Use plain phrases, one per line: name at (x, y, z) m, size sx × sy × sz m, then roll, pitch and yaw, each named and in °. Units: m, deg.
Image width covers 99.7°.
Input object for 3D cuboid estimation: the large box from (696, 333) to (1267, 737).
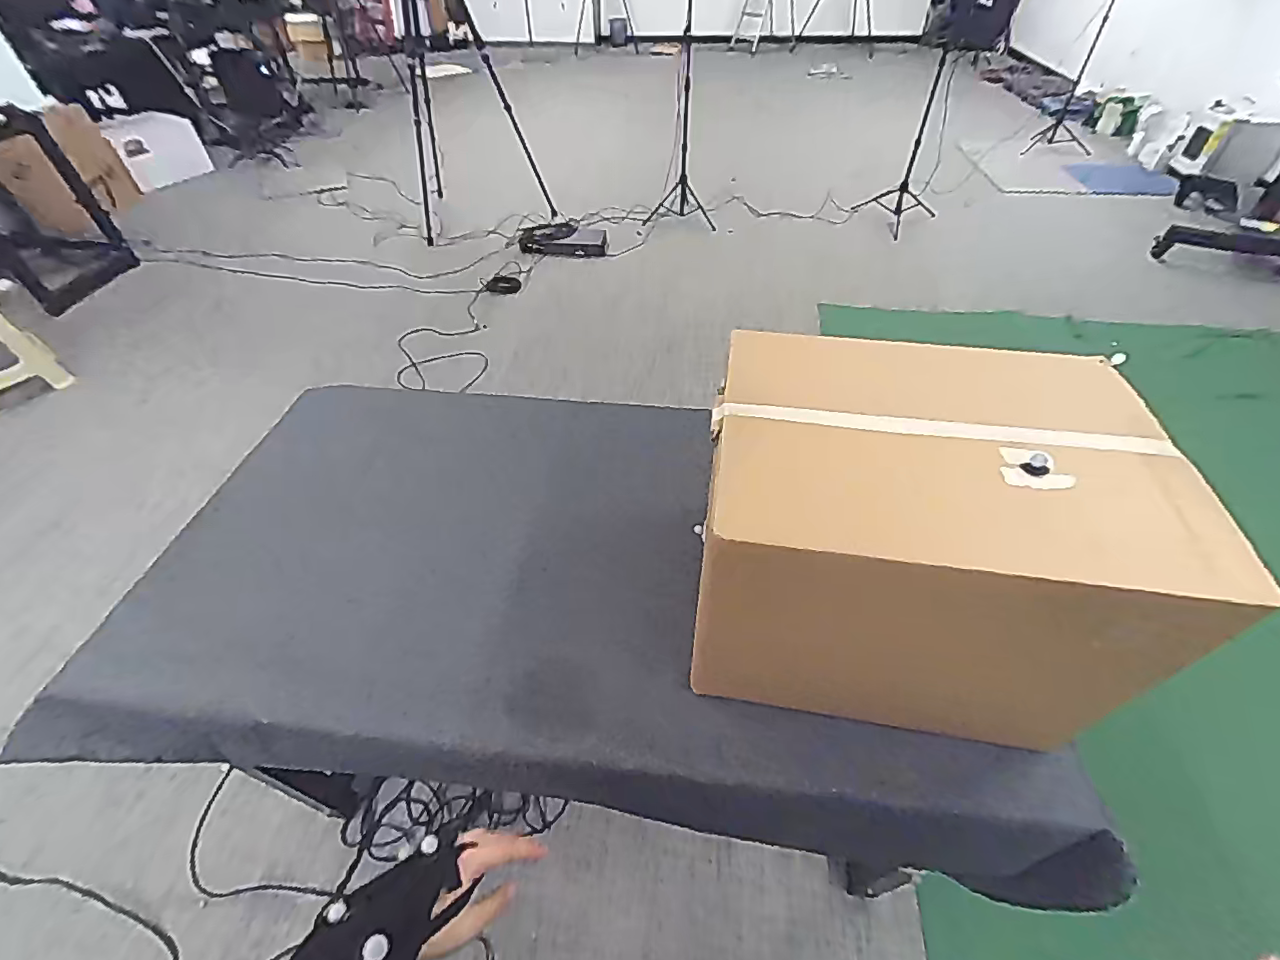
large box at (0.283, 0.059, 0.620) m, size 0.408 × 0.320 × 0.320 m, roll 7°, pitch 48°, yaw 6°
